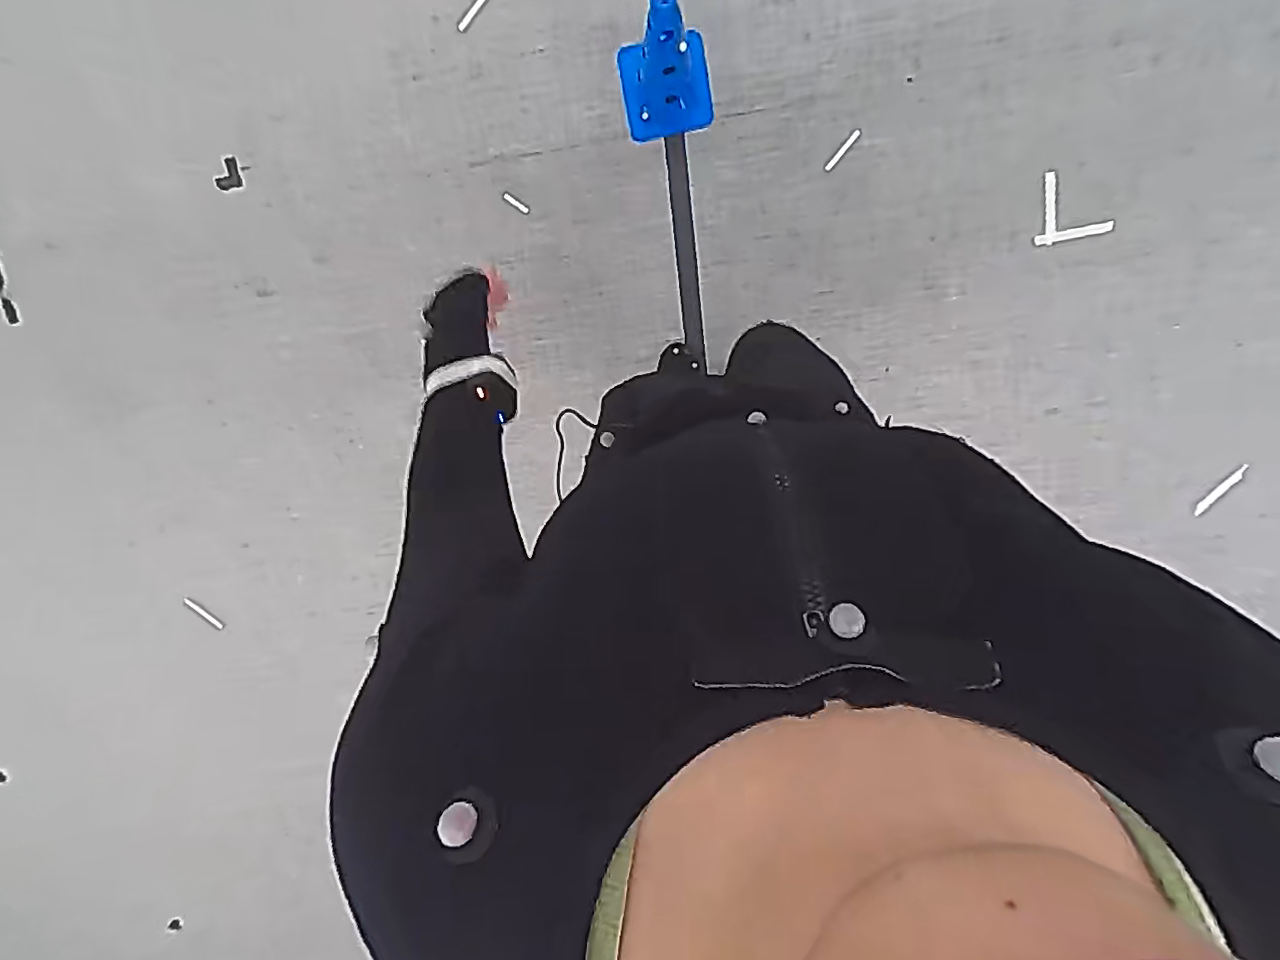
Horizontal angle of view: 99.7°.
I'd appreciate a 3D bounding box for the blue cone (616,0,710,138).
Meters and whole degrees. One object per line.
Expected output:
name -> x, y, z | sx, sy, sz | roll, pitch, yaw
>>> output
blue cone -> 0.049, -0.860, 1.076 | 0.192, 0.380, 0.193 | -12, 105, 6
